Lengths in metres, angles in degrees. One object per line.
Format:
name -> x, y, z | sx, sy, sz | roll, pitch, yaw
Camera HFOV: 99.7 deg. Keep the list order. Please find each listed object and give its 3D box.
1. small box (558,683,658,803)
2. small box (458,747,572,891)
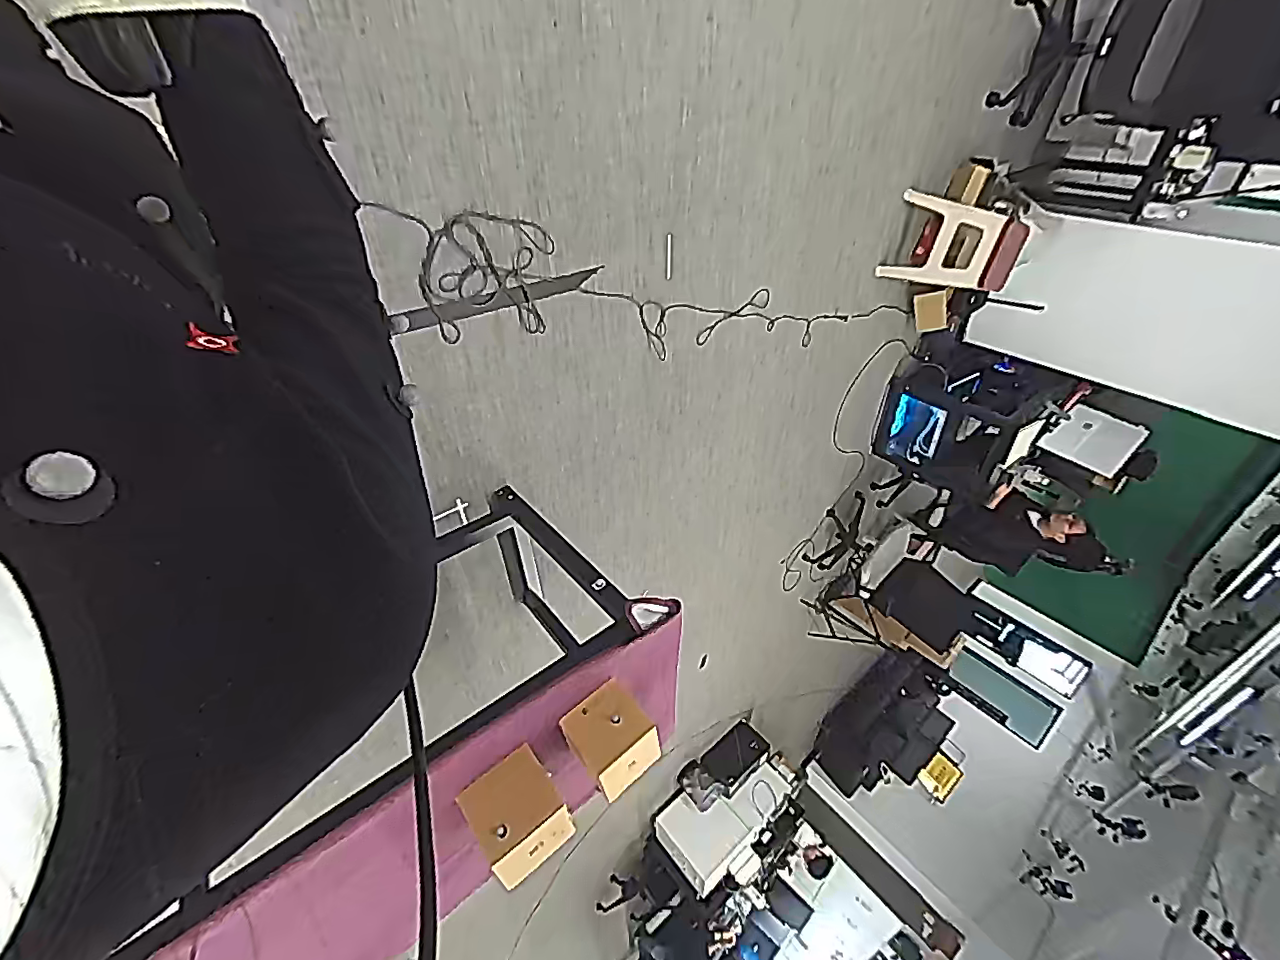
small box -> -0.078, 0.621, 1.296 | 0.168, 0.176, 0.179 | -32, 138, -25
small box -> -0.274, 0.725, 1.168 | 0.179, 0.176, 0.168 | -30, 137, -27
